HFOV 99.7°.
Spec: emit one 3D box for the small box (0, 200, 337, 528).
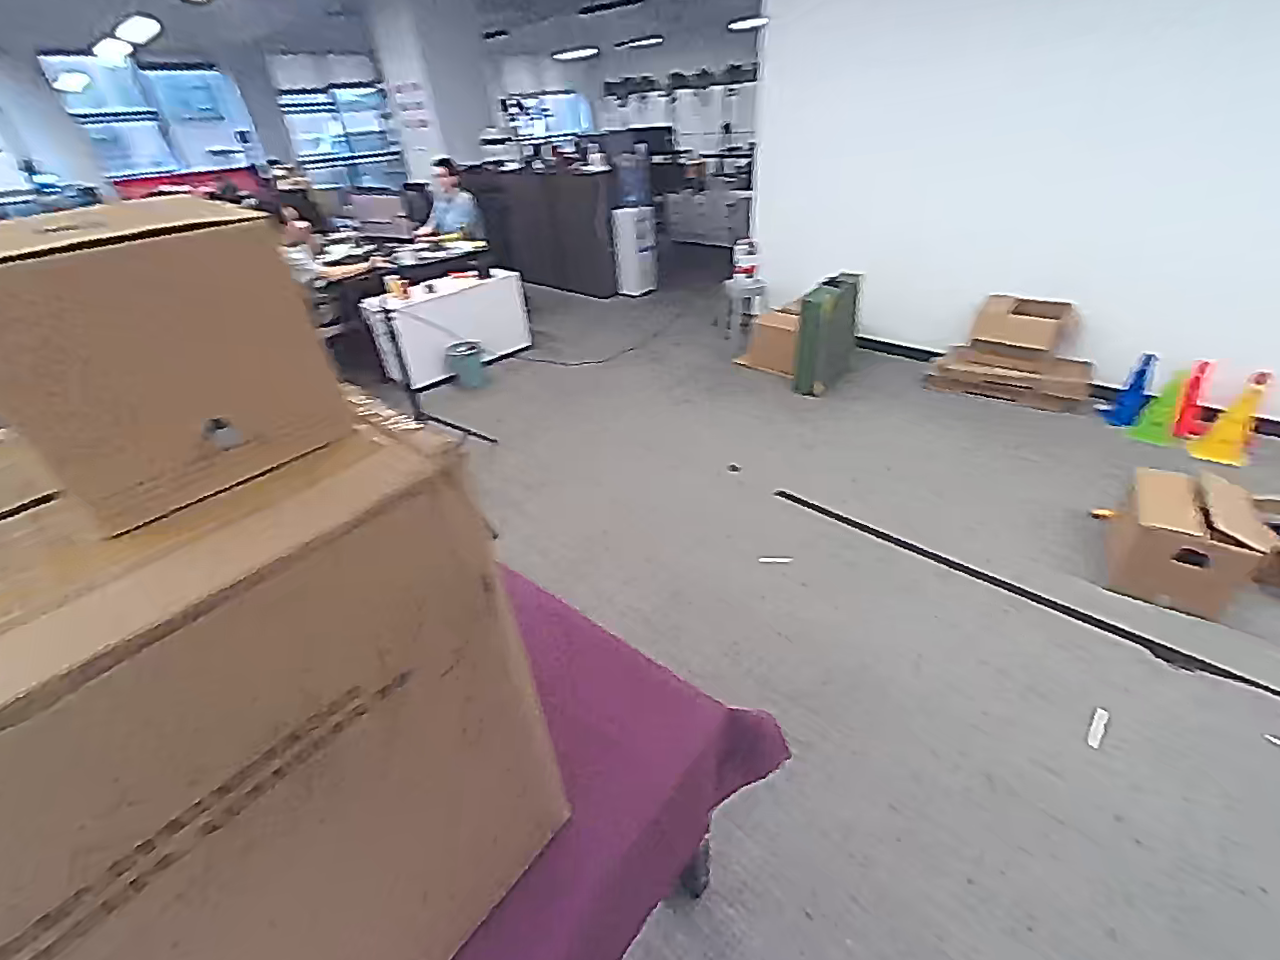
[{"bbox_3d":[-0.356,-0.096,0.398,0.168,0.176,0.179,24,43,33],"label":"small box"}]
